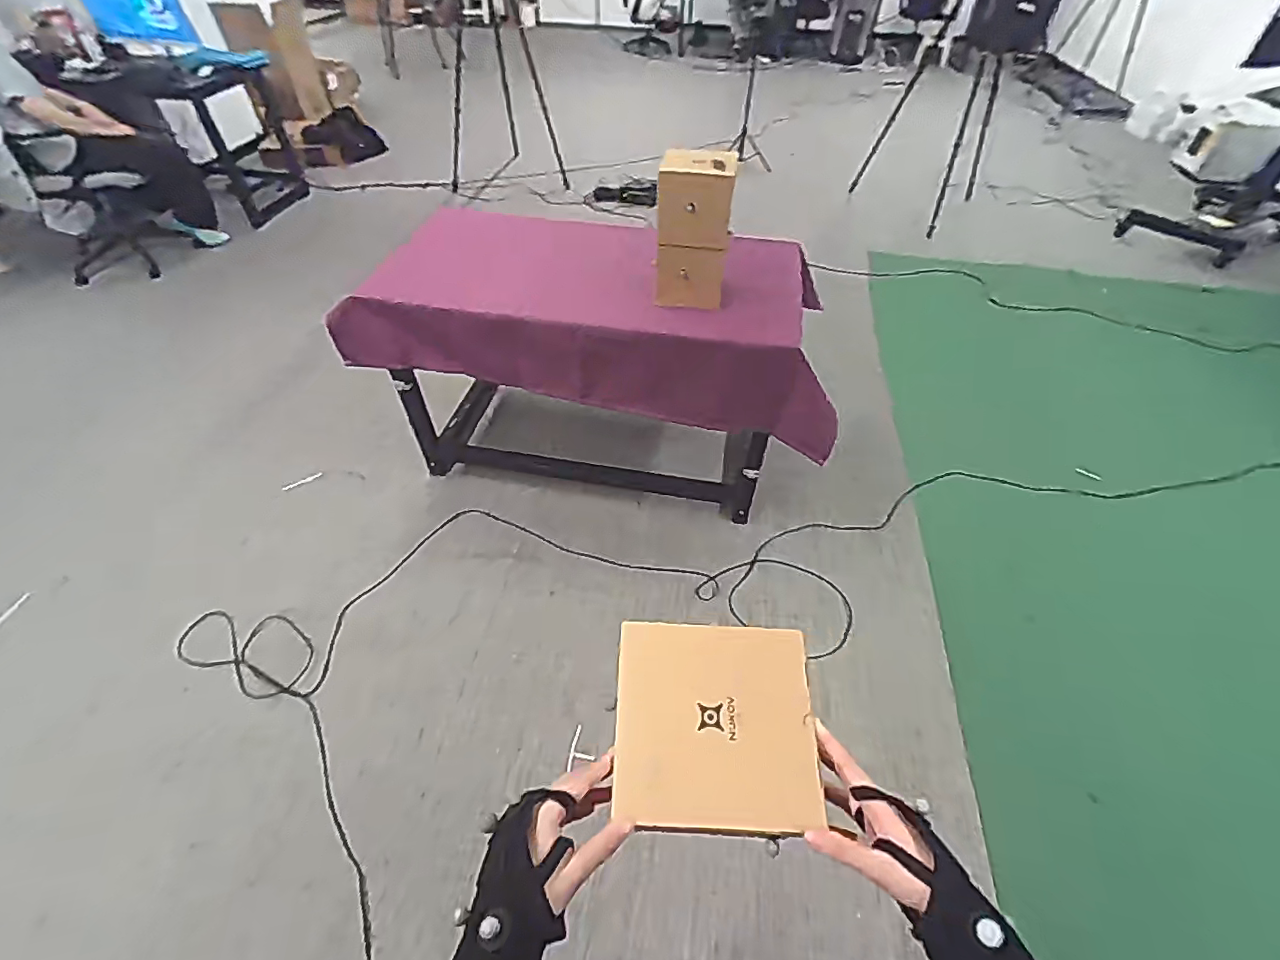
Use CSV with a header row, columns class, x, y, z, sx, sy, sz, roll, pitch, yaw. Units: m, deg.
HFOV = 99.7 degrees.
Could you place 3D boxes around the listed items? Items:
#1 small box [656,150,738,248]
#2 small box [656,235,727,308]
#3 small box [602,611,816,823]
class,x,y,z,sx,sy,sz,roll,pitch,yaw
small box,0.138,-0.688,1.328,0.179,0.176,0.168,7,47,6
small box,0.137,-0.578,1.452,0.179,0.176,0.168,6,48,6
small box,0.056,0.243,0.543,0.179,0.176,0.168,3,56,-1
